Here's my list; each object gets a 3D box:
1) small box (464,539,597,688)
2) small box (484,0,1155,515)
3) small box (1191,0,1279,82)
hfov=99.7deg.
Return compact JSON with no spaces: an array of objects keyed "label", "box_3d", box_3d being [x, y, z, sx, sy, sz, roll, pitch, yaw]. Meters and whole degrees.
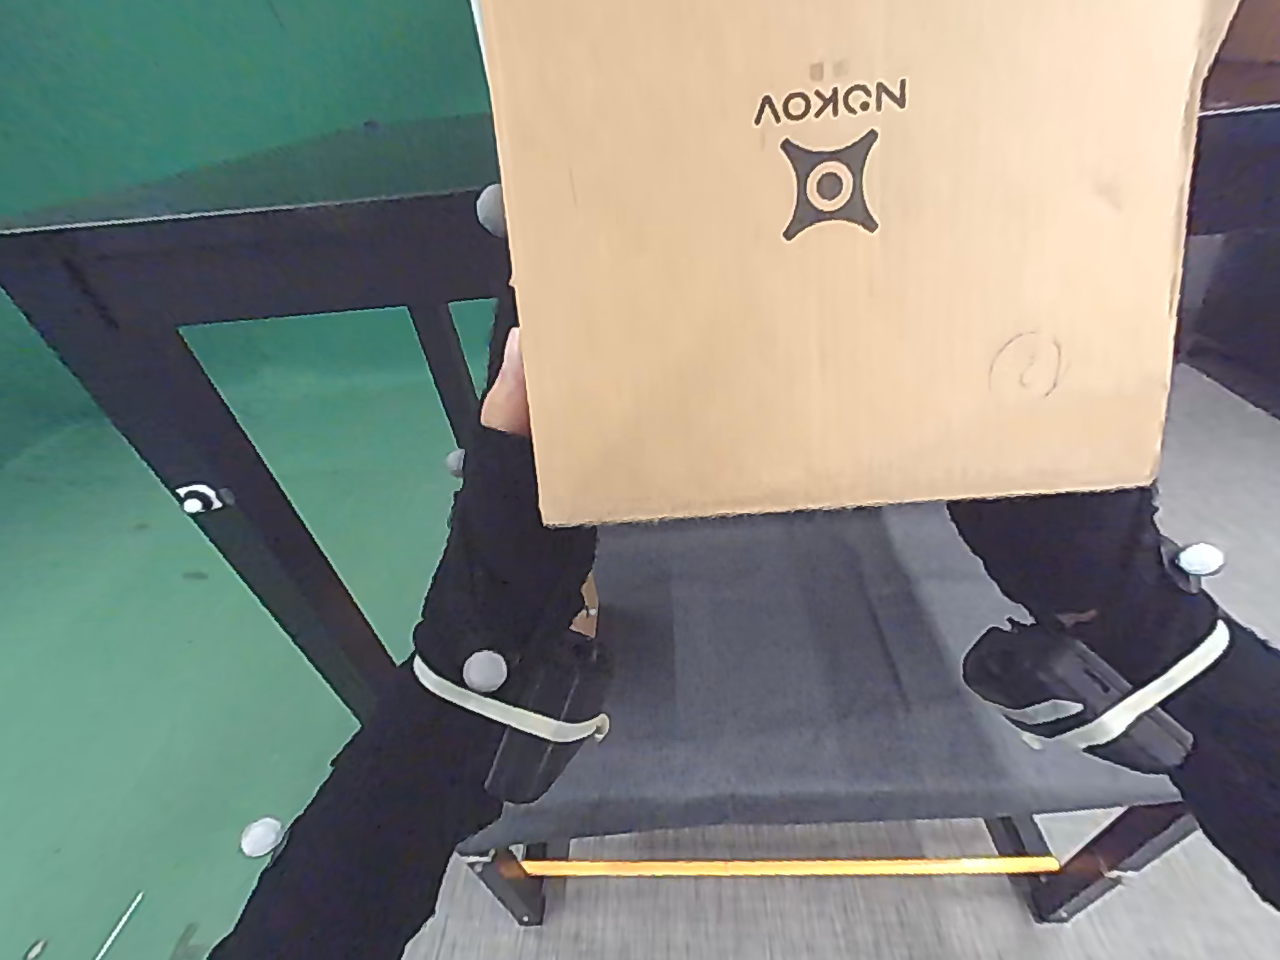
[{"label":"small box","box_3d":[-0.166,0.218,0.888,0.168,0.176,0.179,-3,38,4]},{"label":"small box","box_3d":[0.050,-0.094,0.223,0.168,0.179,0.176,-4,11,4]},{"label":"small box","box_3d":[0.520,-0.359,0.334,0.168,0.176,0.179,4,39,13]}]
